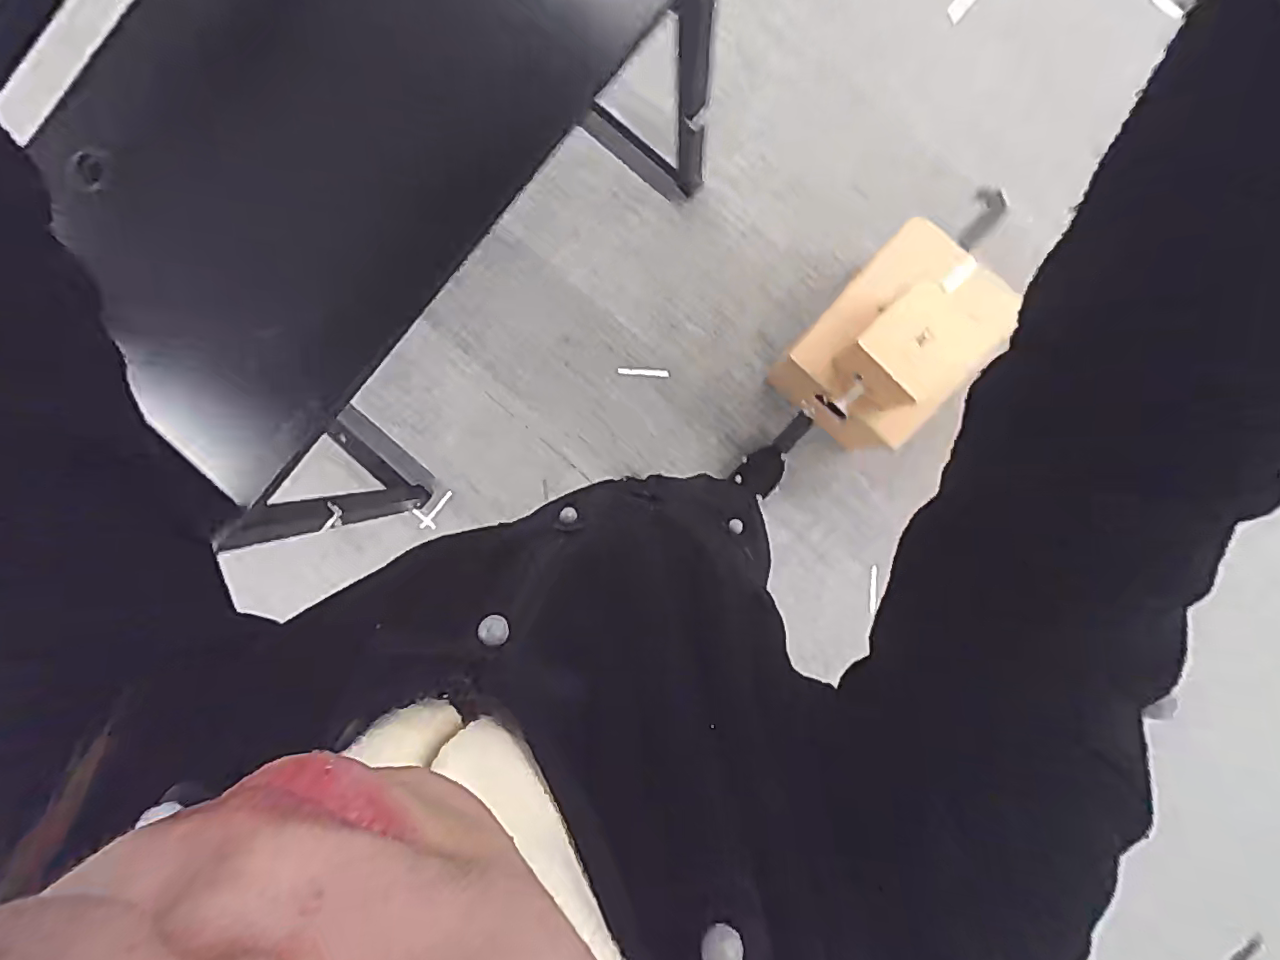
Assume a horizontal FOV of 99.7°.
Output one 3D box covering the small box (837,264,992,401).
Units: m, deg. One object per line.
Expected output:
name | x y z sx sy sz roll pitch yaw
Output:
small box | 0.514 -0.273 1.044 0.168 0.176 0.179 45 95 2

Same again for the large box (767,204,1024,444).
large box | 0.566 -0.334 1.284 0.320 0.320 0.408 41 94 0
